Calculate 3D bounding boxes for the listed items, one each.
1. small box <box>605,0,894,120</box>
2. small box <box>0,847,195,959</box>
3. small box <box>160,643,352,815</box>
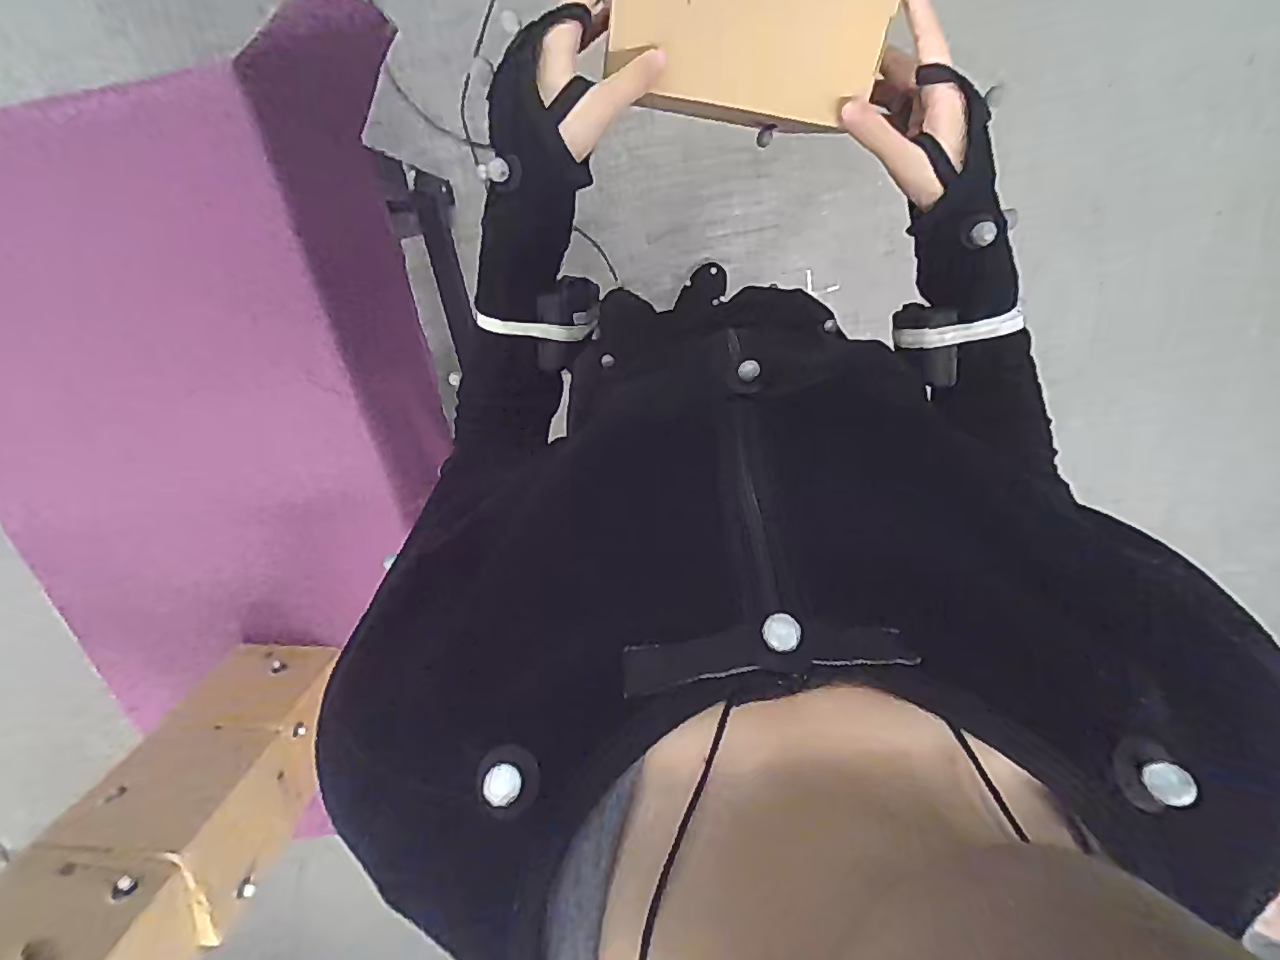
[{"bbox_3d":[0.072,-0.367,0.383,0.179,0.176,0.168,6,120,-8],"label":"small box"},{"bbox_3d":[-0.597,0.508,0.539,0.168,0.176,0.179,9,111,-1],"label":"small box"},{"bbox_3d":[-0.576,0.380,0.842,0.168,0.176,0.179,2,110,1],"label":"small box"}]
